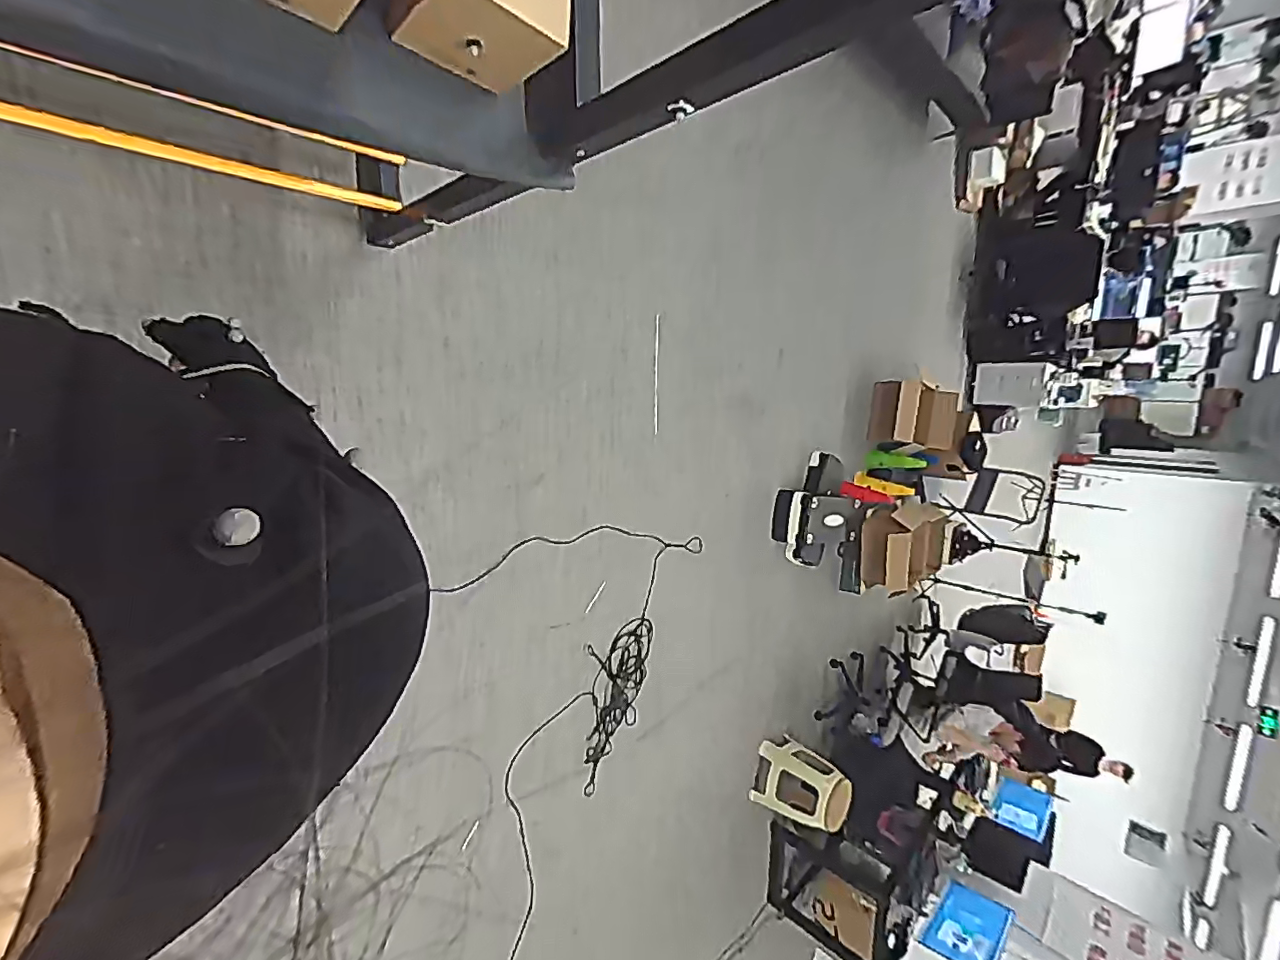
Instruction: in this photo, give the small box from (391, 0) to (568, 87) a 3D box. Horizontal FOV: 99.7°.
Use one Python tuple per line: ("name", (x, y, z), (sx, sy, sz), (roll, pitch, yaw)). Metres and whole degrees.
("small box", (-0.206, -0.653, 0.691), (0.168, 0.176, 0.179), (-4, 100, -46))
